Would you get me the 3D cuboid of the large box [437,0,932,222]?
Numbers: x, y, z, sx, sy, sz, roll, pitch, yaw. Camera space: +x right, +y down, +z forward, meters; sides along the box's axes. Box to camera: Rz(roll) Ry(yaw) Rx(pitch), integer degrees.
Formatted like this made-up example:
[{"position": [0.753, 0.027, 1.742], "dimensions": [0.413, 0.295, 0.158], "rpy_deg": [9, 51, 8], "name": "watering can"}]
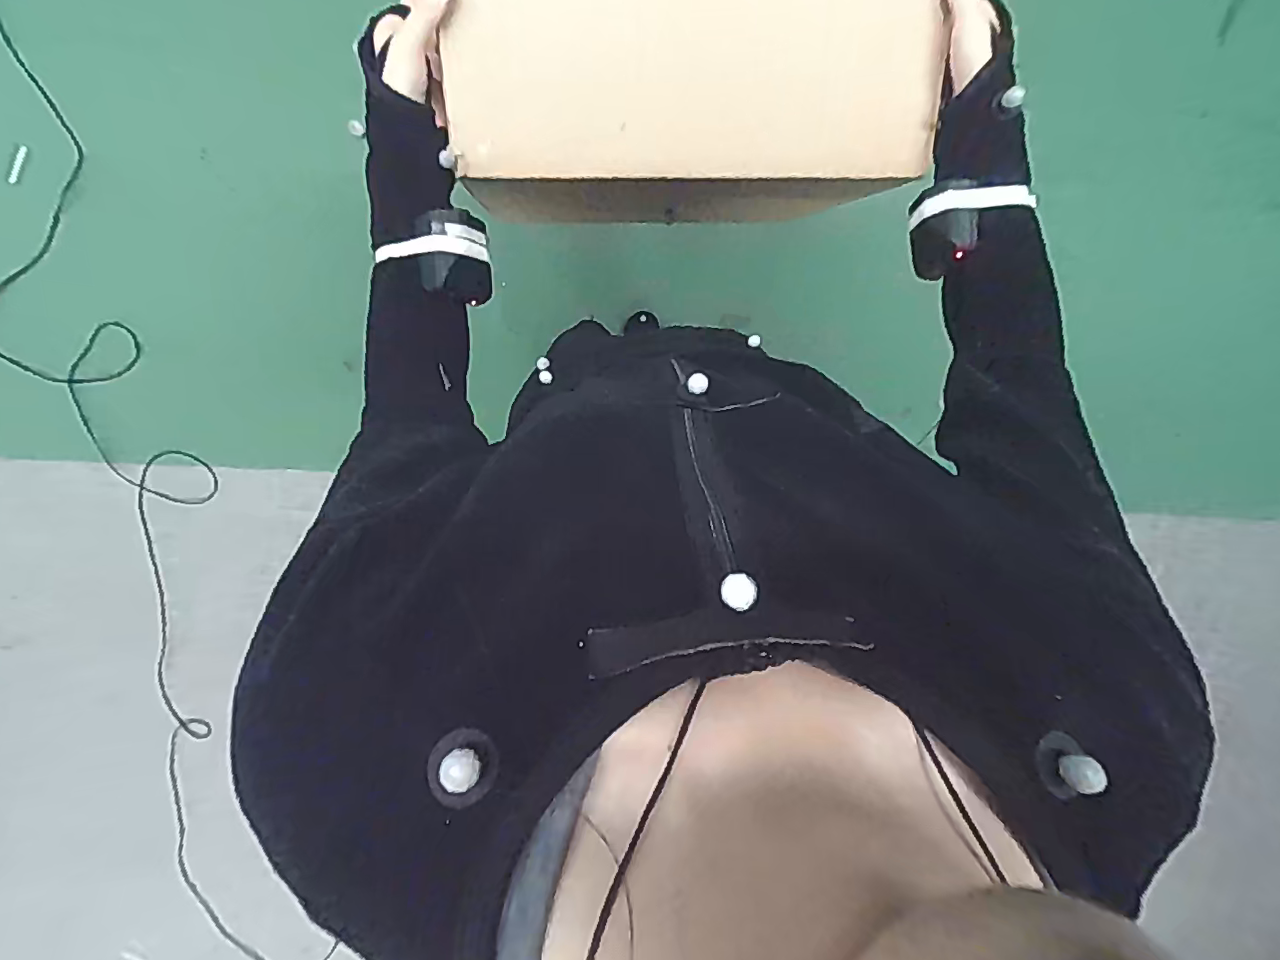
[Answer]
[{"position": [0.027, -0.452, 0.555], "dimensions": [0.408, 0.320, 0.320], "rpy_deg": [-3, 109, -6], "name": "large box"}]
